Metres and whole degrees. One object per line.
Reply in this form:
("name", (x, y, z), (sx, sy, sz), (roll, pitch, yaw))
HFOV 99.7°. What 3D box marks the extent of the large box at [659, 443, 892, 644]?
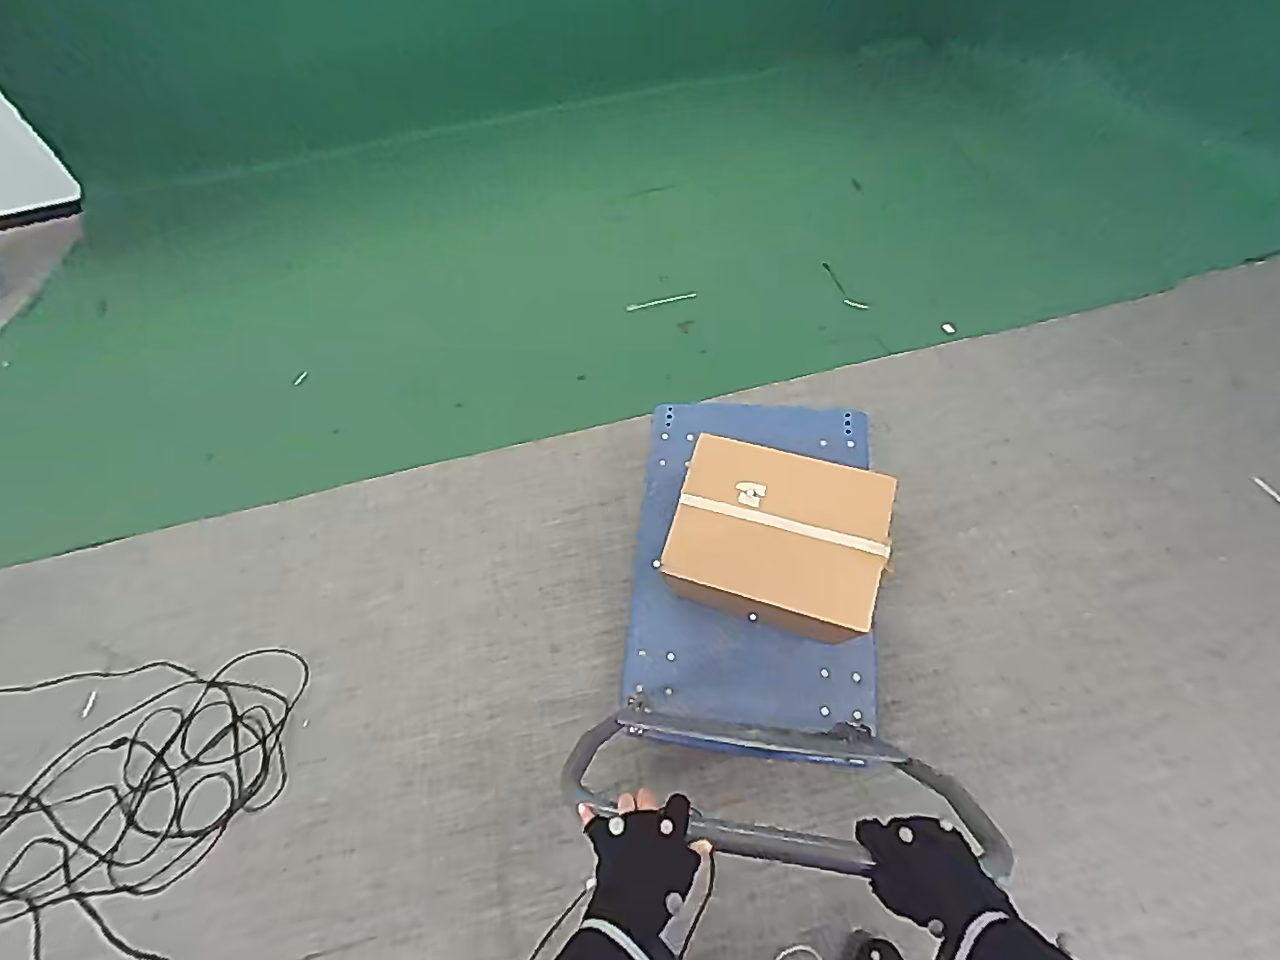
("large box", (0.292, 0.153, 1.202), (0.408, 0.320, 0.320), (14, 72, 14))
